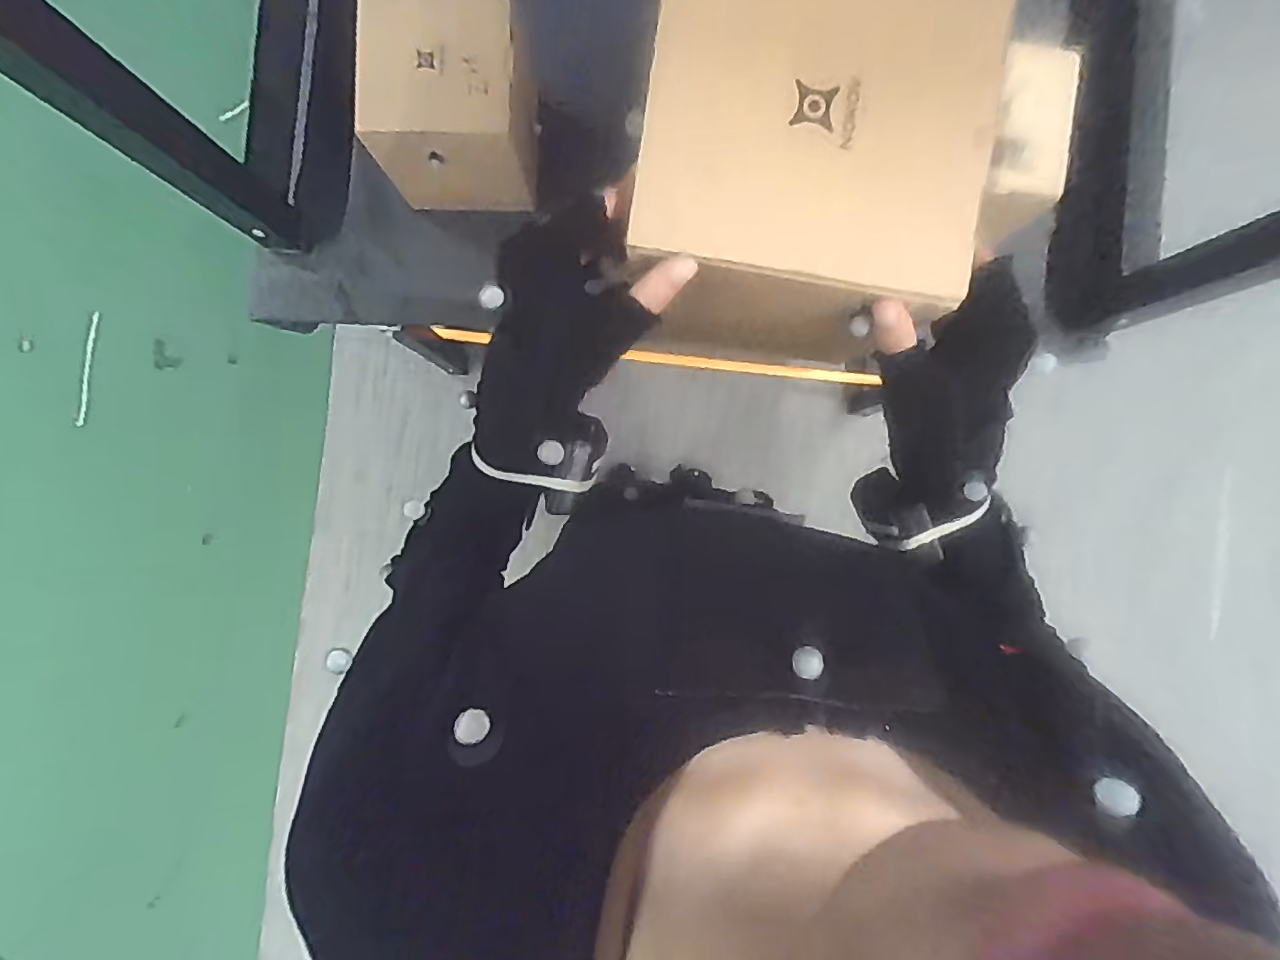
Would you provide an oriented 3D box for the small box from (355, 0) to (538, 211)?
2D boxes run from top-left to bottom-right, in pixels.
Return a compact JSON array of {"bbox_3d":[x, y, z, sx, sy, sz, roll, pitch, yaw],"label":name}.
[{"bbox_3d":[-0.234,-0.467,0.691,0.179,0.176,0.168,1,89,-1],"label":"small box"}]
